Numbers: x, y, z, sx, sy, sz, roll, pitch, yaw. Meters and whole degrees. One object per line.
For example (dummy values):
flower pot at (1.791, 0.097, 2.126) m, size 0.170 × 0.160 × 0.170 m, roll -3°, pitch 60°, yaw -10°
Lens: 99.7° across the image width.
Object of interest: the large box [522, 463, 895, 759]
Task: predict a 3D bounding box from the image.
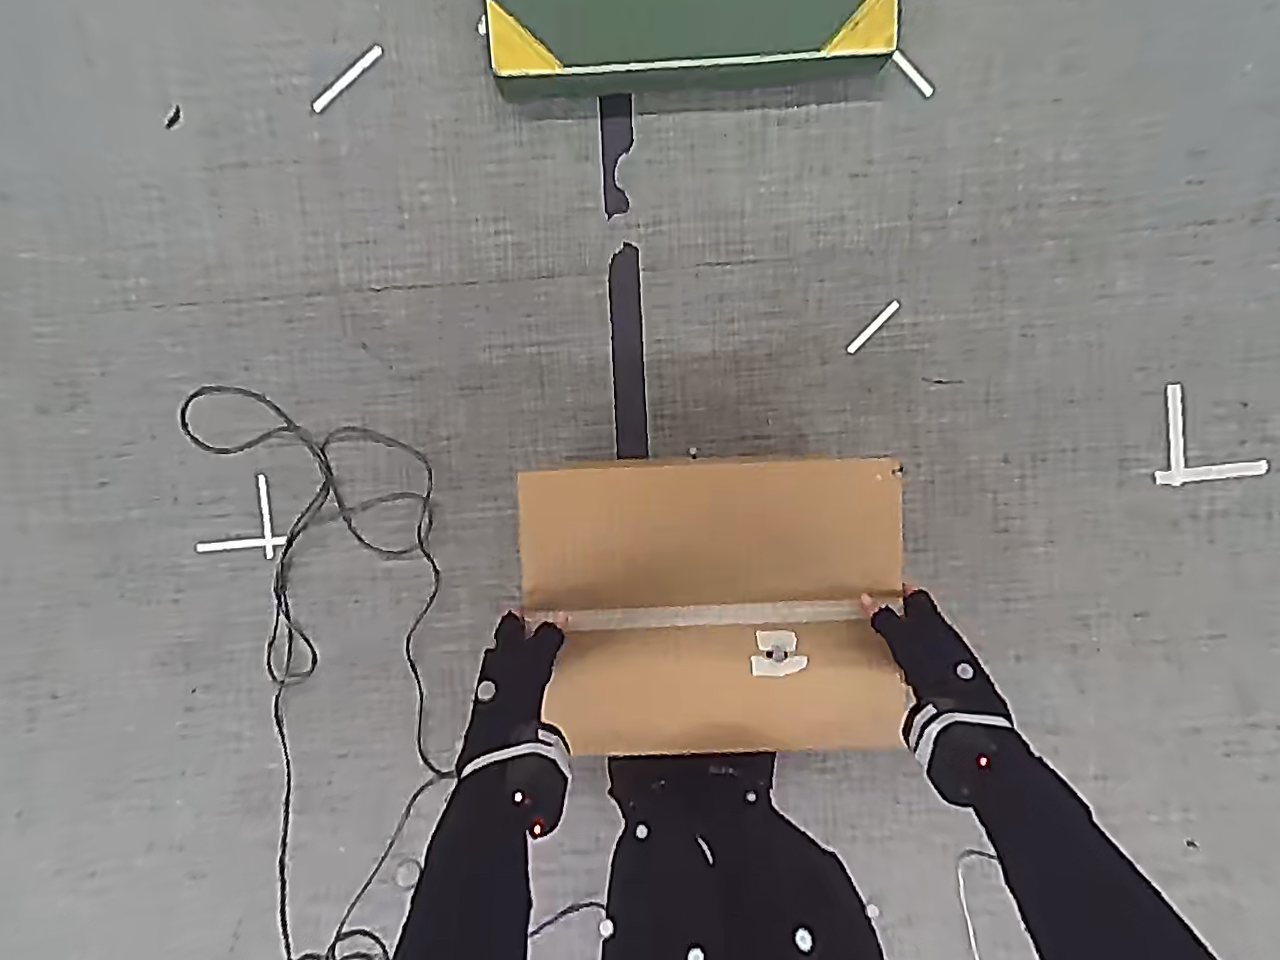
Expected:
large box at (0.075, 0.141, 0.743) m, size 0.408 × 0.320 × 0.320 m, roll -3°, pitch 93°, yaw 0°
